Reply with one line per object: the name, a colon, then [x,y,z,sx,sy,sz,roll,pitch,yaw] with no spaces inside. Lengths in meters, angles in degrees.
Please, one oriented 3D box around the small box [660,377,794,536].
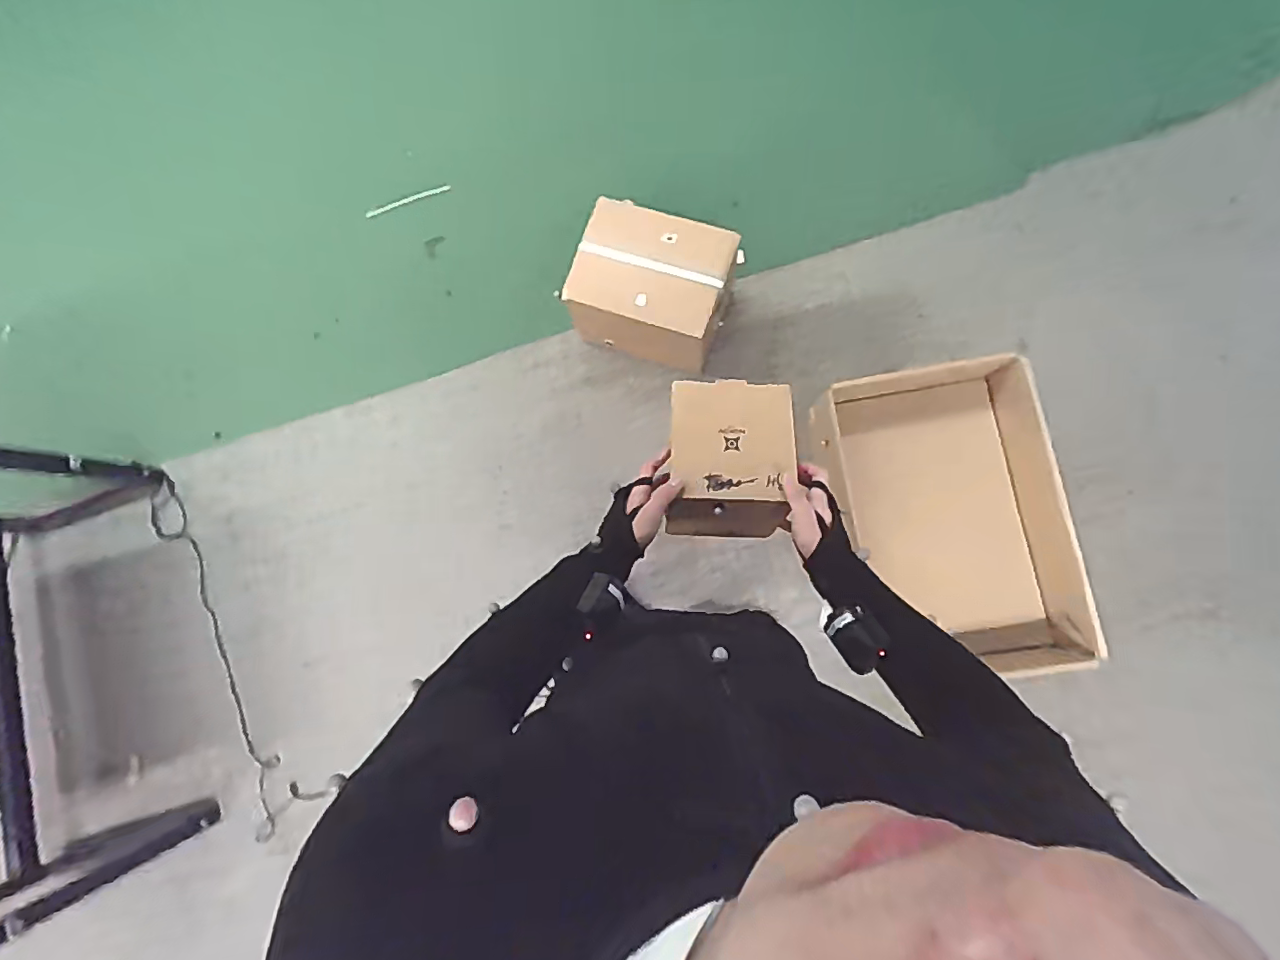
small box: [0.116,-0.028,0.787,0.168,0.176,0.179,2,69,1]
